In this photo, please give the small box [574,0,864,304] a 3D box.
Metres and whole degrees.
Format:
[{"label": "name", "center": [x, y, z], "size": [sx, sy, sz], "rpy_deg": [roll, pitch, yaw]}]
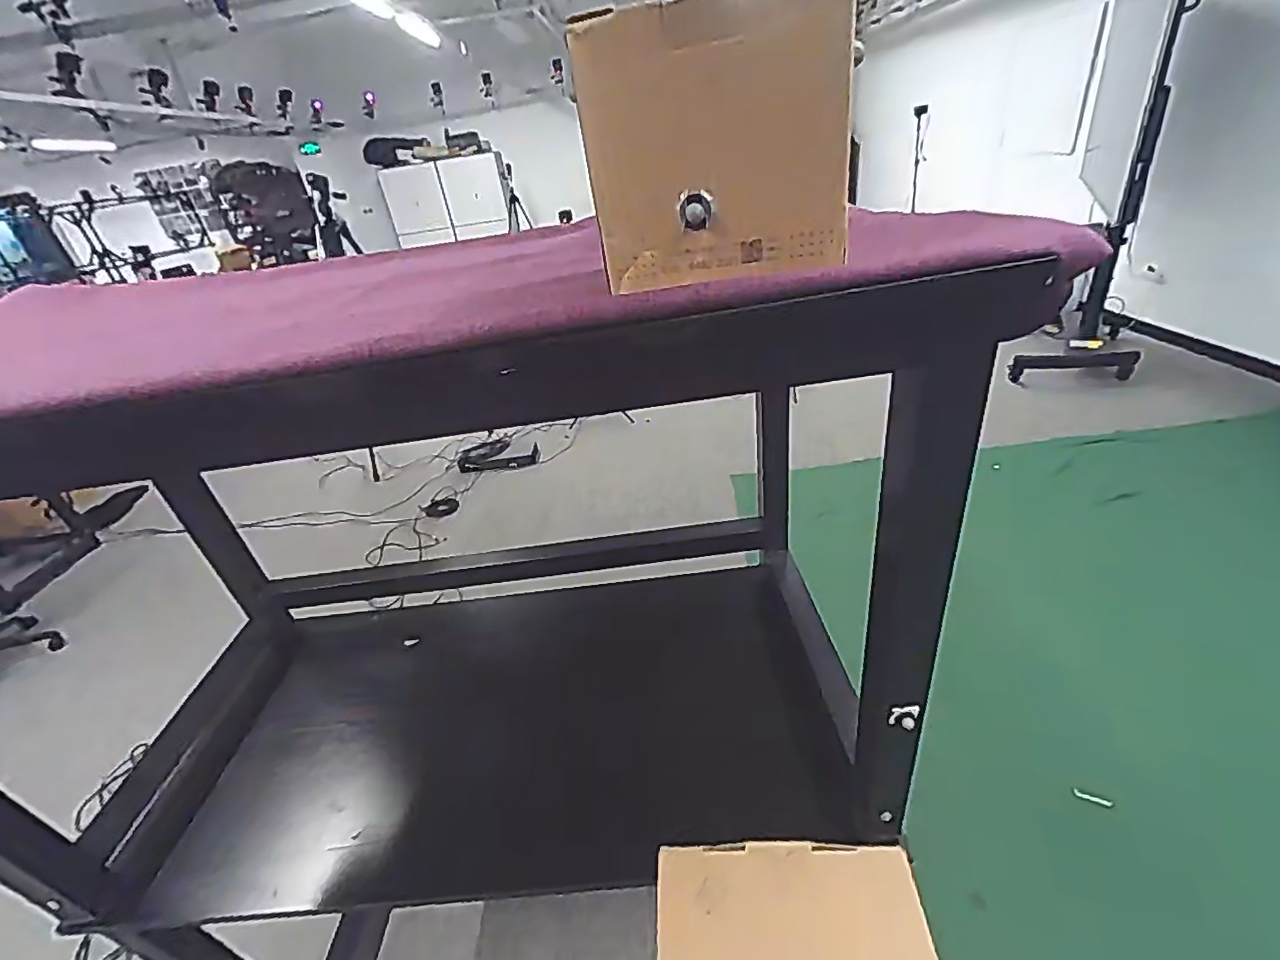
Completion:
[{"label": "small box", "center": [0.063, -0.242, 0.411], "size": [0.168, 0.176, 0.179], "rpy_deg": [-2, 33, 12]}]
